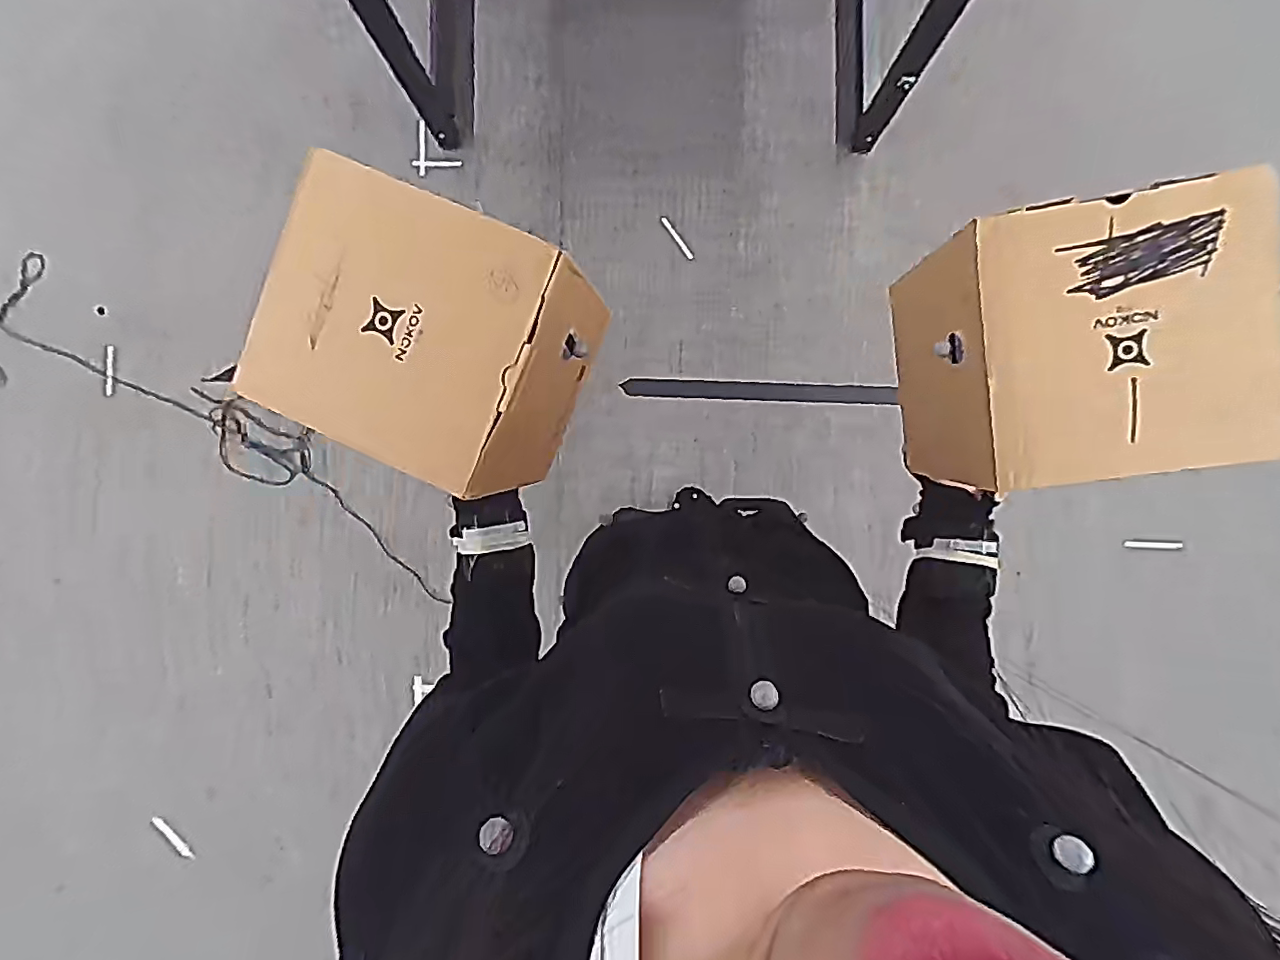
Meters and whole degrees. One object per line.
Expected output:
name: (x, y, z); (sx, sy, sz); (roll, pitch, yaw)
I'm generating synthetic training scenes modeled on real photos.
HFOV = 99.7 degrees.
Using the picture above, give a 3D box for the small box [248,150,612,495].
small box: (-0.137, -0.104, 0.416); (0.179, 0.176, 0.168); (24, 96, 6)

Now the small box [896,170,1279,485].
small box: (0.313, -0.098, 0.416); (0.168, 0.176, 0.179); (-7, 95, 8)
